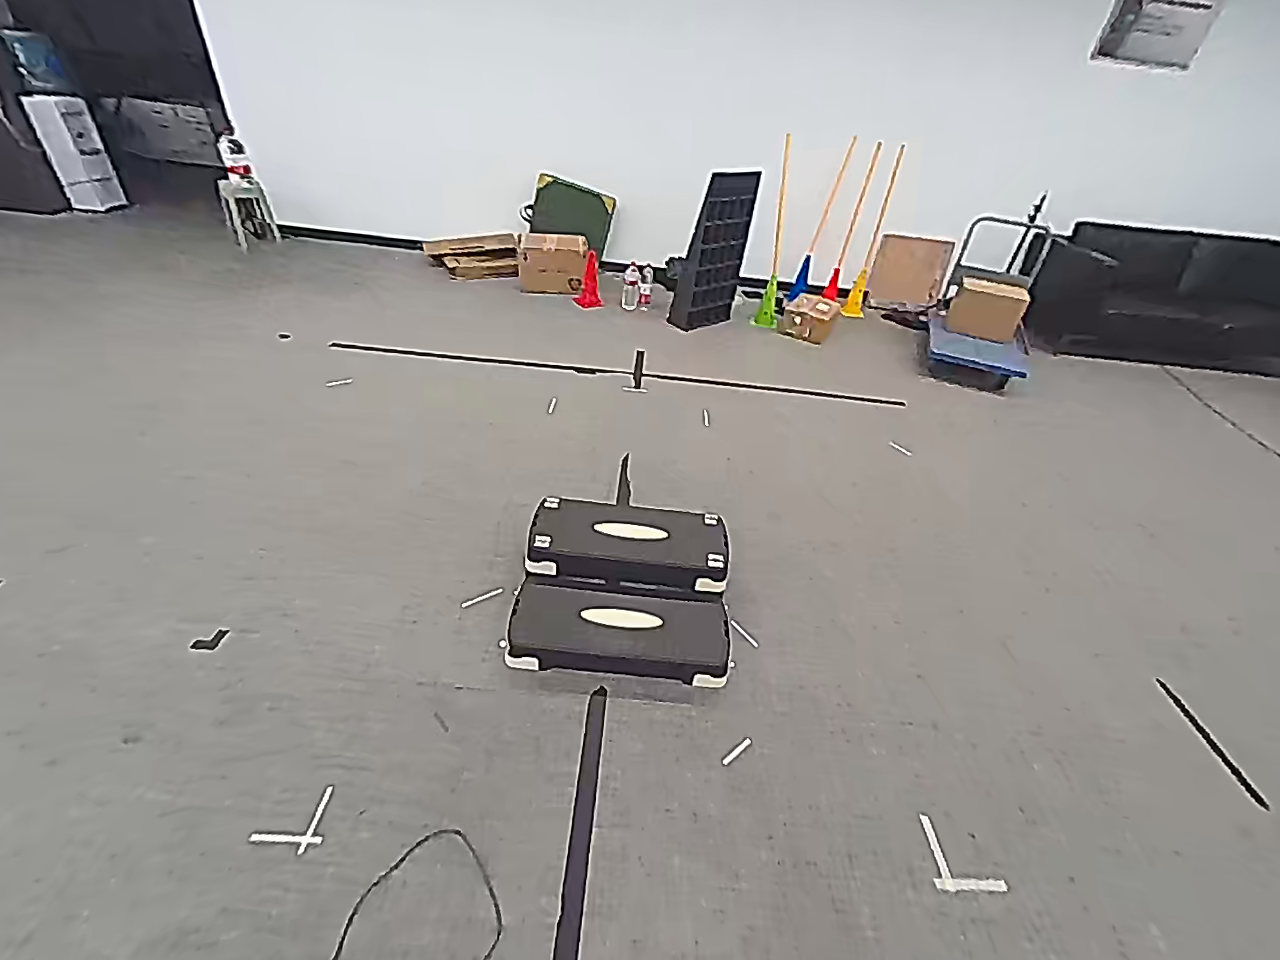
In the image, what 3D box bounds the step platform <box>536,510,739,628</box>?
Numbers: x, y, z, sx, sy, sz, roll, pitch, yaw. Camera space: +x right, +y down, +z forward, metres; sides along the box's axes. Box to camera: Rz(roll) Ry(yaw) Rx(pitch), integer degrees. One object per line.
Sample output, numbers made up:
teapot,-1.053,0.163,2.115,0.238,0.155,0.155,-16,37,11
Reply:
step platform,-0.005,0.299,1.870,0.684,0.204,0.286,9,36,2
